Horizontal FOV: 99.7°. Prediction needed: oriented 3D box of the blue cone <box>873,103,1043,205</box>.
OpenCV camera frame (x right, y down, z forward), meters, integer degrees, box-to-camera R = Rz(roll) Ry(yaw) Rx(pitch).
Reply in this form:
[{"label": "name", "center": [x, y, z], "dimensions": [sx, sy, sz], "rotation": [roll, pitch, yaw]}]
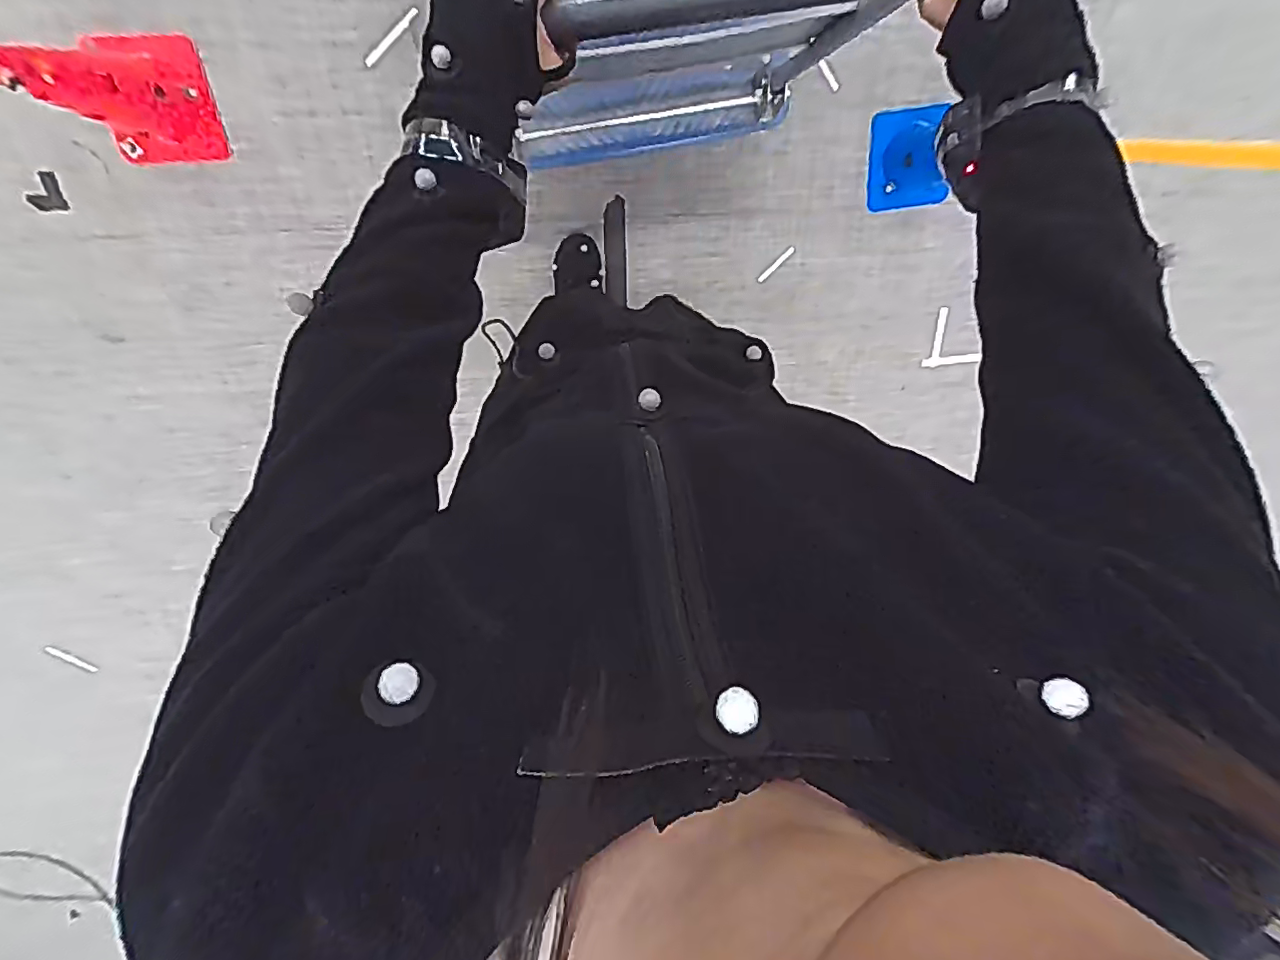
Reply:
[{"label": "blue cone", "center": [0.643, -0.664, 1.083], "dimensions": [0.193, 0.380, 0.192], "rotation": [-8, 117, -4]}]
